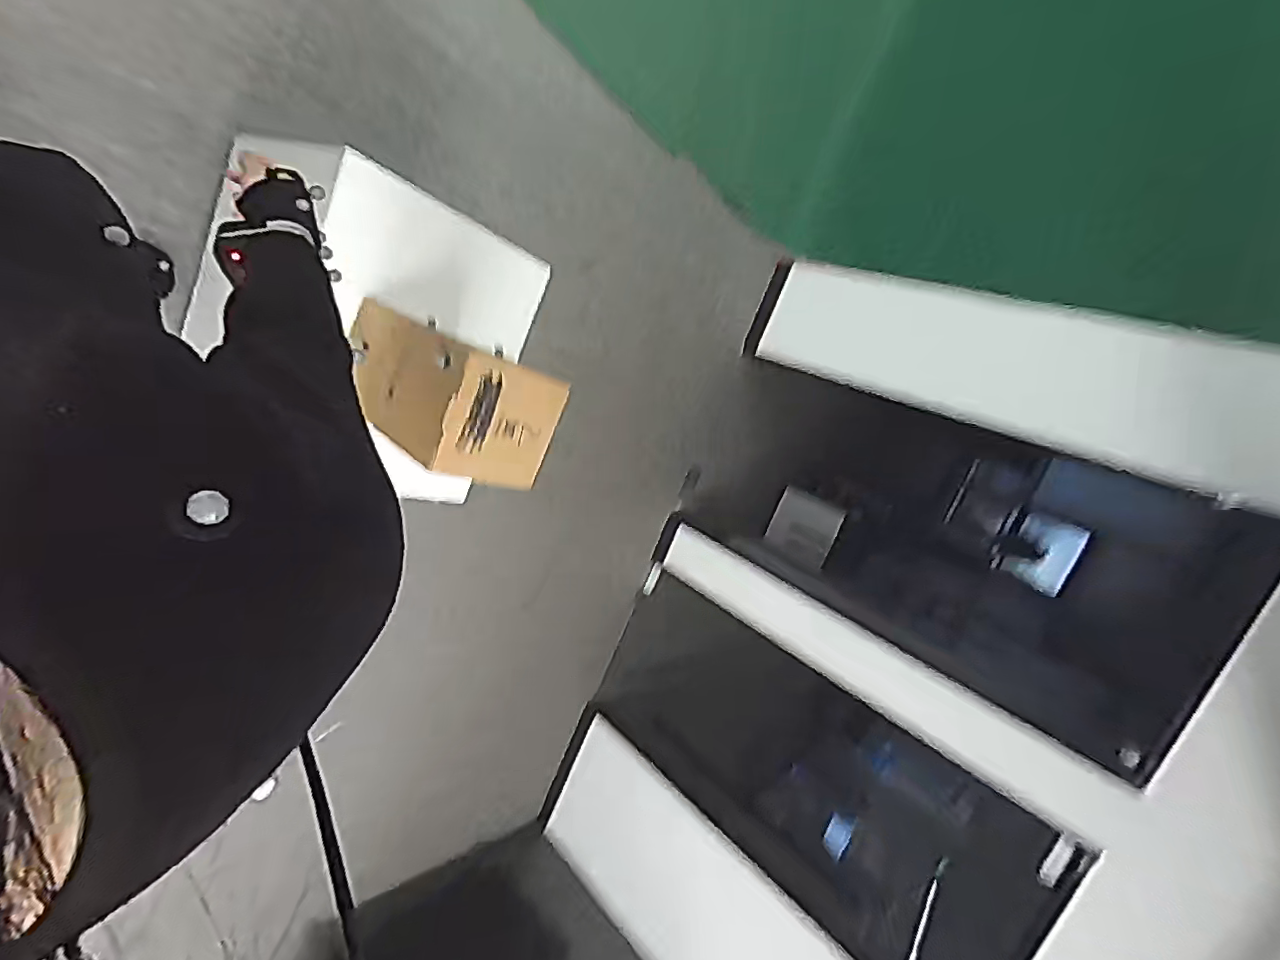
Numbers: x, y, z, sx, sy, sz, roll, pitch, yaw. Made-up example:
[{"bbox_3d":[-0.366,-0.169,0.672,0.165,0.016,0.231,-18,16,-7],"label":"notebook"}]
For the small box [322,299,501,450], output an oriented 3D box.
[{"bbox_3d":[-0.364,-0.168,0.863,0.179,0.176,0.168,17,100,-56],"label":"small box"}]
